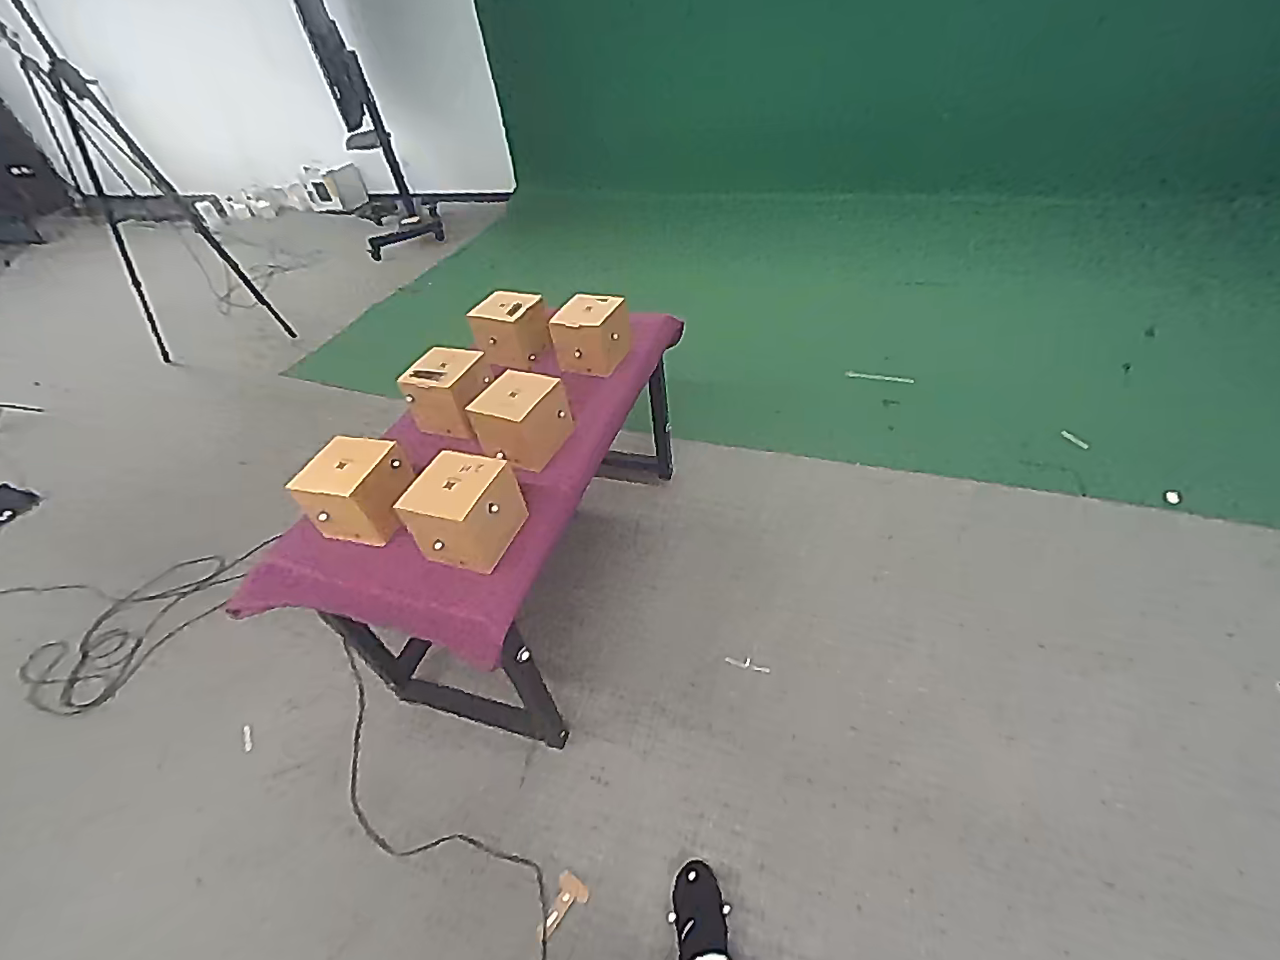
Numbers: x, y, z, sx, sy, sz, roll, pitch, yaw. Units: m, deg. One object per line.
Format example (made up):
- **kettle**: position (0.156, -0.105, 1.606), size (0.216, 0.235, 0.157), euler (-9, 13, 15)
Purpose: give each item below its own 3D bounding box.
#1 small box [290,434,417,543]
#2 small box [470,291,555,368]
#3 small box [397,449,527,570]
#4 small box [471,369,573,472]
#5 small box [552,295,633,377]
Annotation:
- **small box**: position (-0.625, 0.021, 1.219), size (0.168, 0.176, 0.179), euler (7, 45, 15)
- **small box**: position (-0.388, -0.466, 1.685), size (0.179, 0.176, 0.168), euler (14, 48, 22)
- **small box**: position (-0.358, 0.063, 1.130), size (0.168, 0.176, 0.179), euler (10, 46, 19)
- **small box**: position (-0.283, -0.149, 1.343), size (0.168, 0.176, 0.179), euler (15, 49, 24)
- **small box**: position (-0.132, -0.427, 1.604), size (0.168, 0.176, 0.179), euler (13, 49, 22)
